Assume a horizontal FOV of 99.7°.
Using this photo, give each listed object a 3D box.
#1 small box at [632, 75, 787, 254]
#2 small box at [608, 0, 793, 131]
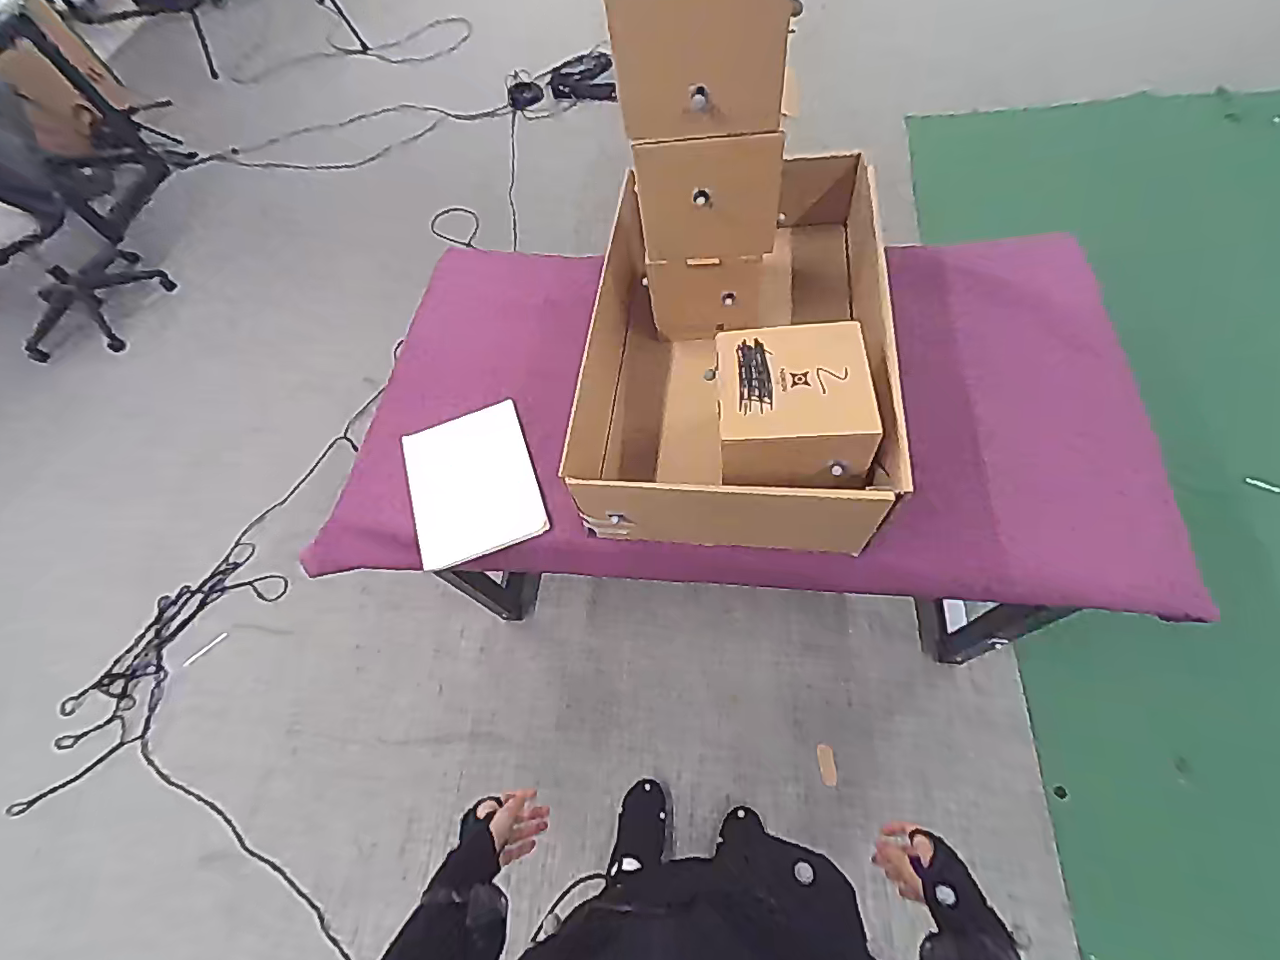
[{"bbox_3d":[0.092,-0.421,0.710,0.179,0.176,0.168,0,63,9],"label":"small box"},{"bbox_3d":[0.068,-0.499,0.567,0.179,0.176,0.168,3,63,9],"label":"small box"}]
